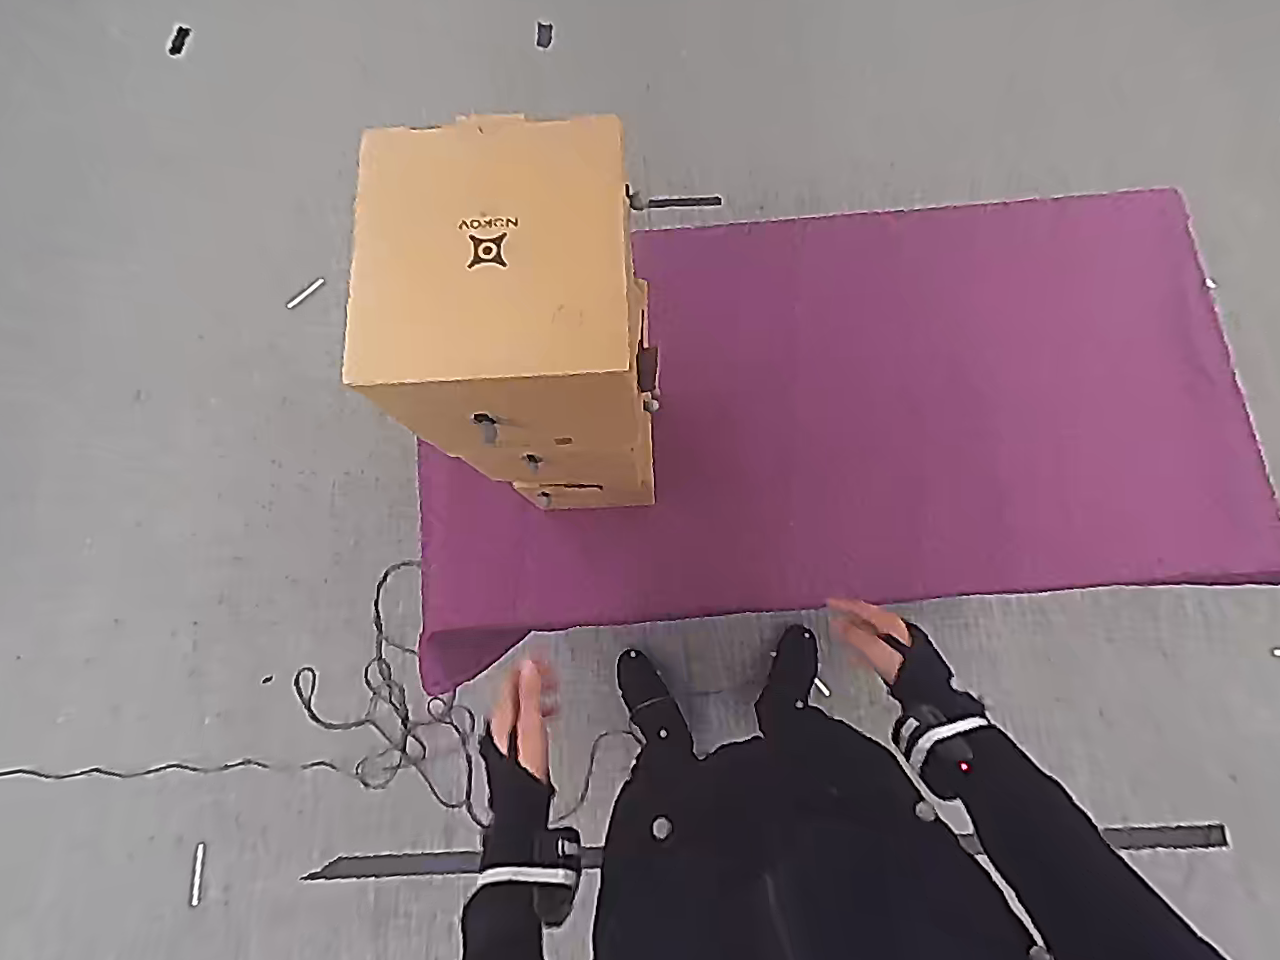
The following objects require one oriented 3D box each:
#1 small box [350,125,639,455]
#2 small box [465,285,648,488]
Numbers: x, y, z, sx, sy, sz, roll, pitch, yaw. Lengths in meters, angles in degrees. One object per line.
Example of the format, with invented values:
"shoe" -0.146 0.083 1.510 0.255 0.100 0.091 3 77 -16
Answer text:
"small box" -0.088 -0.121 0.407 0.168 0.176 0.179 -3 77 1
"small box" -0.085 -0.089 0.566 0.179 0.176 0.168 3 78 2
